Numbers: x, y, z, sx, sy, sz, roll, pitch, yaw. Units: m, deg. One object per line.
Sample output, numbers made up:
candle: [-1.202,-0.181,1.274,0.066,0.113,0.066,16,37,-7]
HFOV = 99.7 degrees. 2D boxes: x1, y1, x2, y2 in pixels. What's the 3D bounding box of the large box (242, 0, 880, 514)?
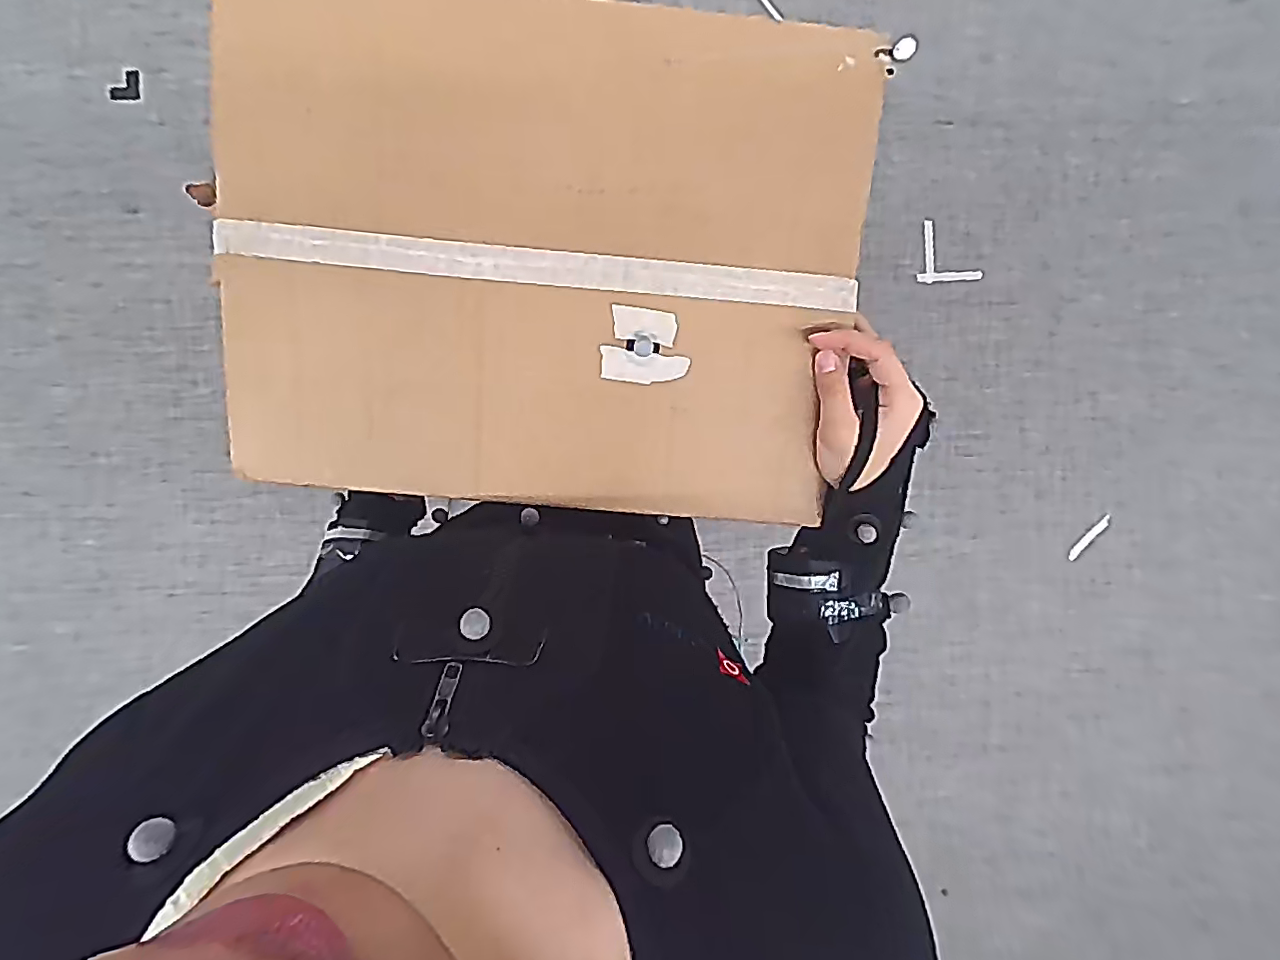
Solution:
large box: [-0.061,-0.160,0.504,0.408,0.320,0.320,4,100,-3]
